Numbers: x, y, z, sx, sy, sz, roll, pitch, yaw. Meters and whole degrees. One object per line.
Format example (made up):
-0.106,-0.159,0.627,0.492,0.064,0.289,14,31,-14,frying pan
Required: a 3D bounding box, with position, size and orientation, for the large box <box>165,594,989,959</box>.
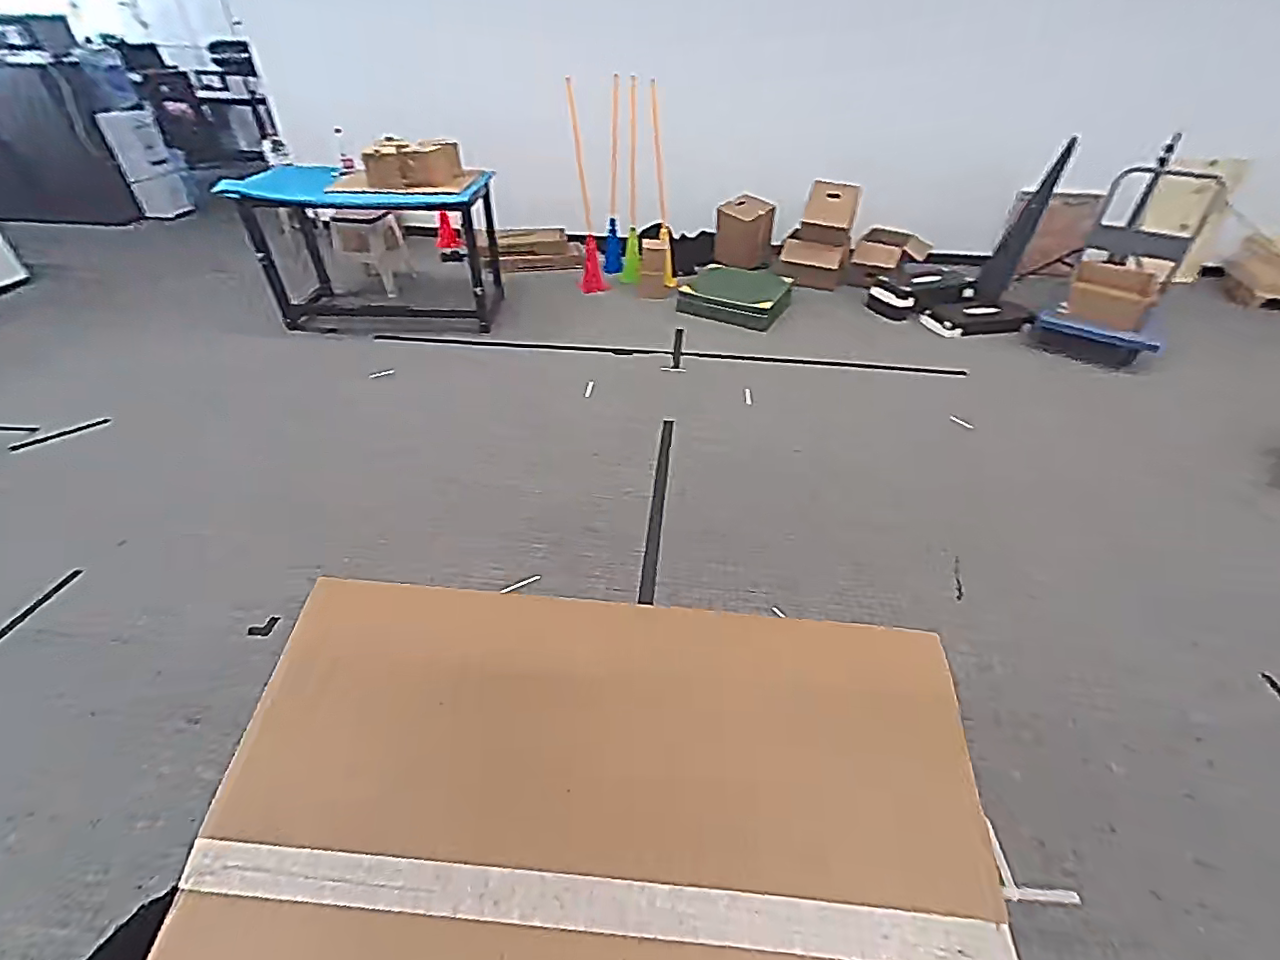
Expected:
-0.029,0.300,0.395,0.408,0.320,0.320,4,56,2,large box
